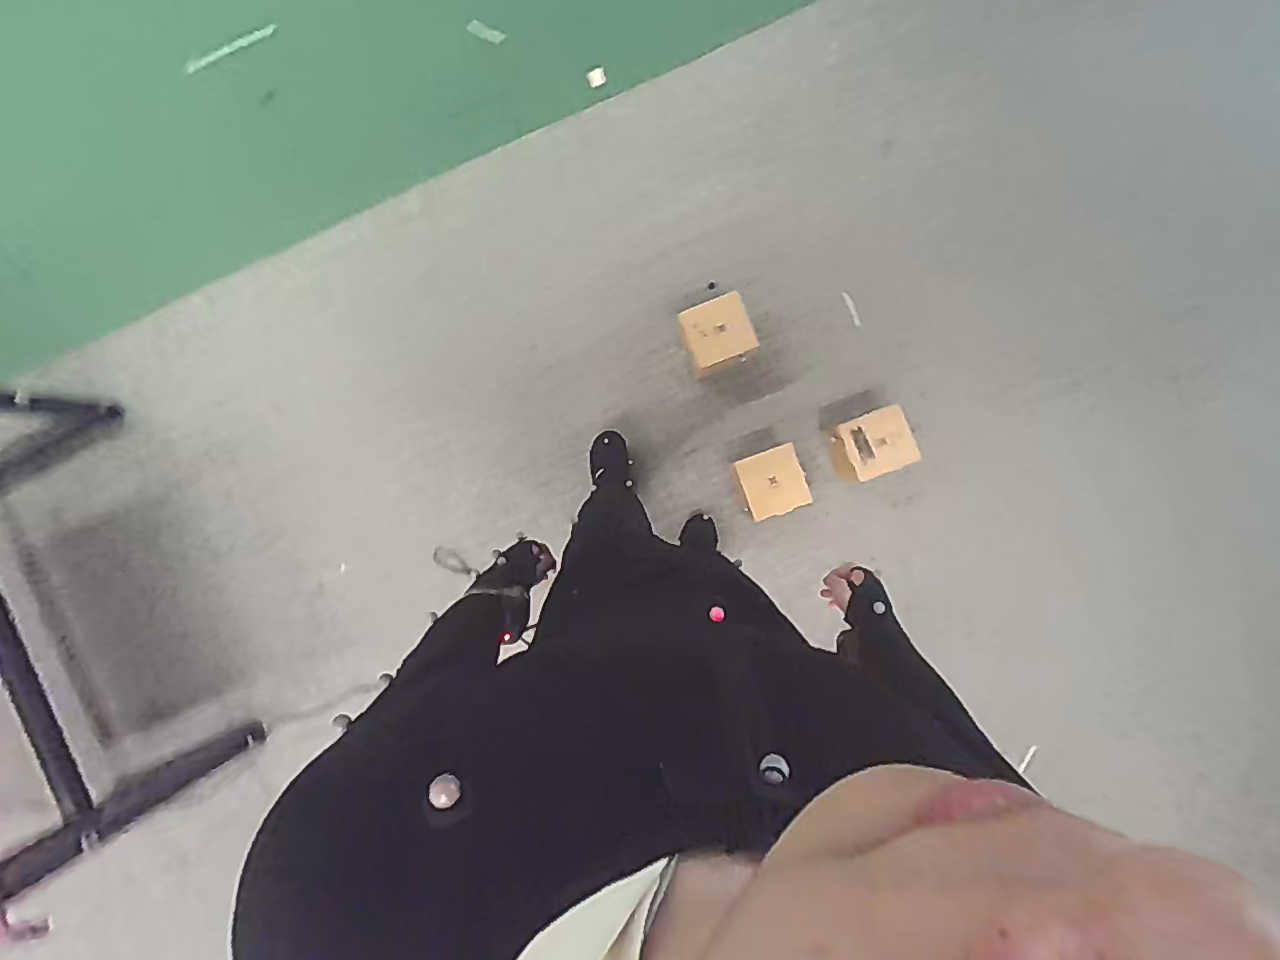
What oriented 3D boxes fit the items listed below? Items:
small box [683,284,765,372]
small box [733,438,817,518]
[{"bbox_3d":[0.227,-0.418,1.513,0.179,0.176,0.168,-20,90,4],"label":"small box"},{"bbox_3d":[0.370,-0.007,1.513,0.168,0.176,0.179,-20,91,4],"label":"small box"}]
